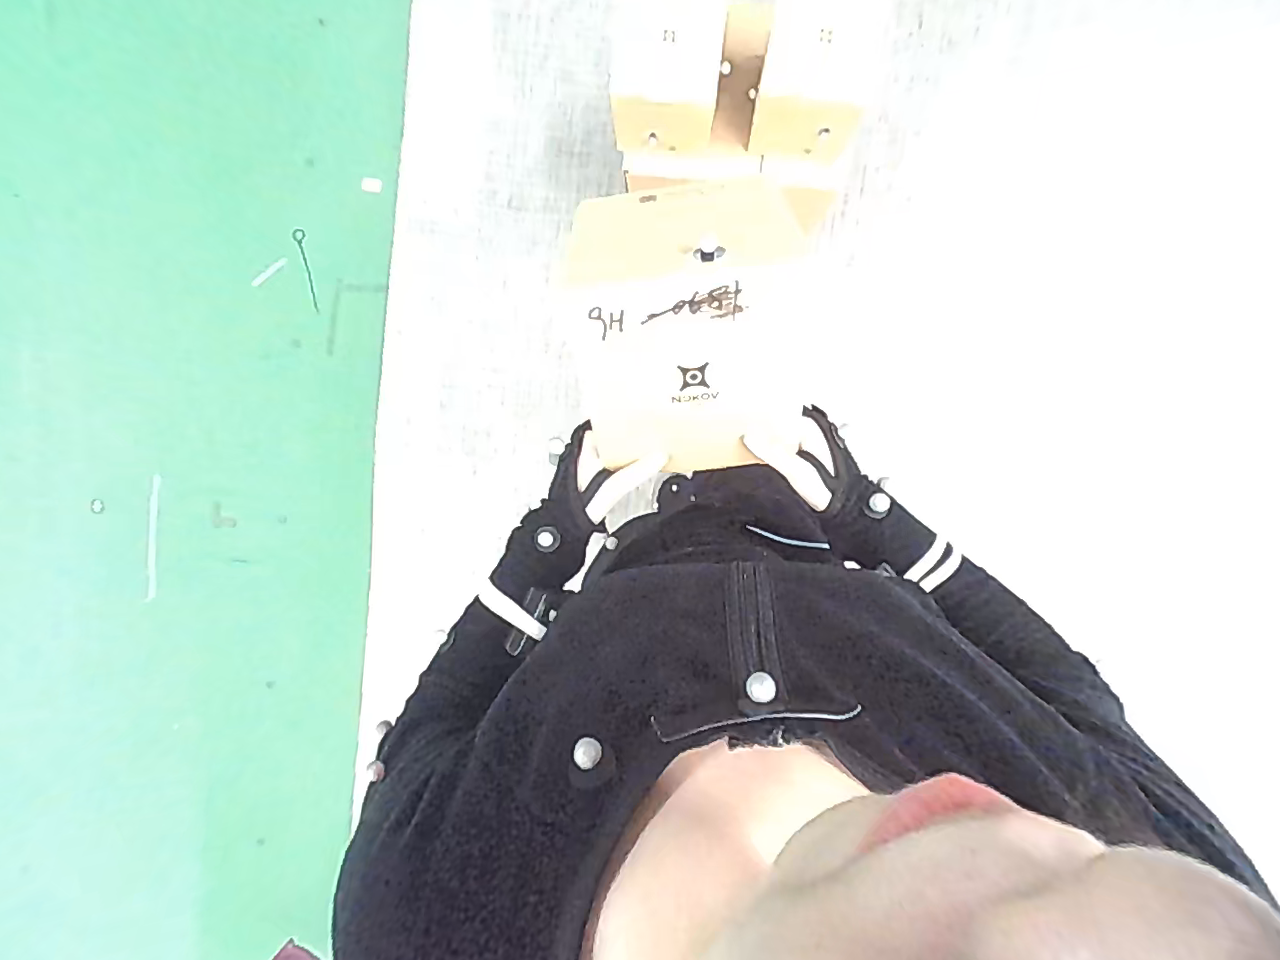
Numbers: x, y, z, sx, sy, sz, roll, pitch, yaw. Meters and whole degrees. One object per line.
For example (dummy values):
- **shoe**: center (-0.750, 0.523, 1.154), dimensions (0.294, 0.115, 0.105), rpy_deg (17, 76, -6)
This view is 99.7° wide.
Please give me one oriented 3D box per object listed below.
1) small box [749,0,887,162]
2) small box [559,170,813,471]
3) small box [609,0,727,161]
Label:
- **small box**: center (0.279, -0.656, 0.886), dimensions (0.168, 0.176, 0.179), rpy_deg (10, 93, 3)
- **small box**: center (0.038, -0.132, 0.458), dimensions (0.168, 0.176, 0.179), rpy_deg (-6, 135, 5)
- **small box**: center (0.043, -0.669, 0.899), dimensions (0.168, 0.176, 0.179), rpy_deg (6, 96, 1)
